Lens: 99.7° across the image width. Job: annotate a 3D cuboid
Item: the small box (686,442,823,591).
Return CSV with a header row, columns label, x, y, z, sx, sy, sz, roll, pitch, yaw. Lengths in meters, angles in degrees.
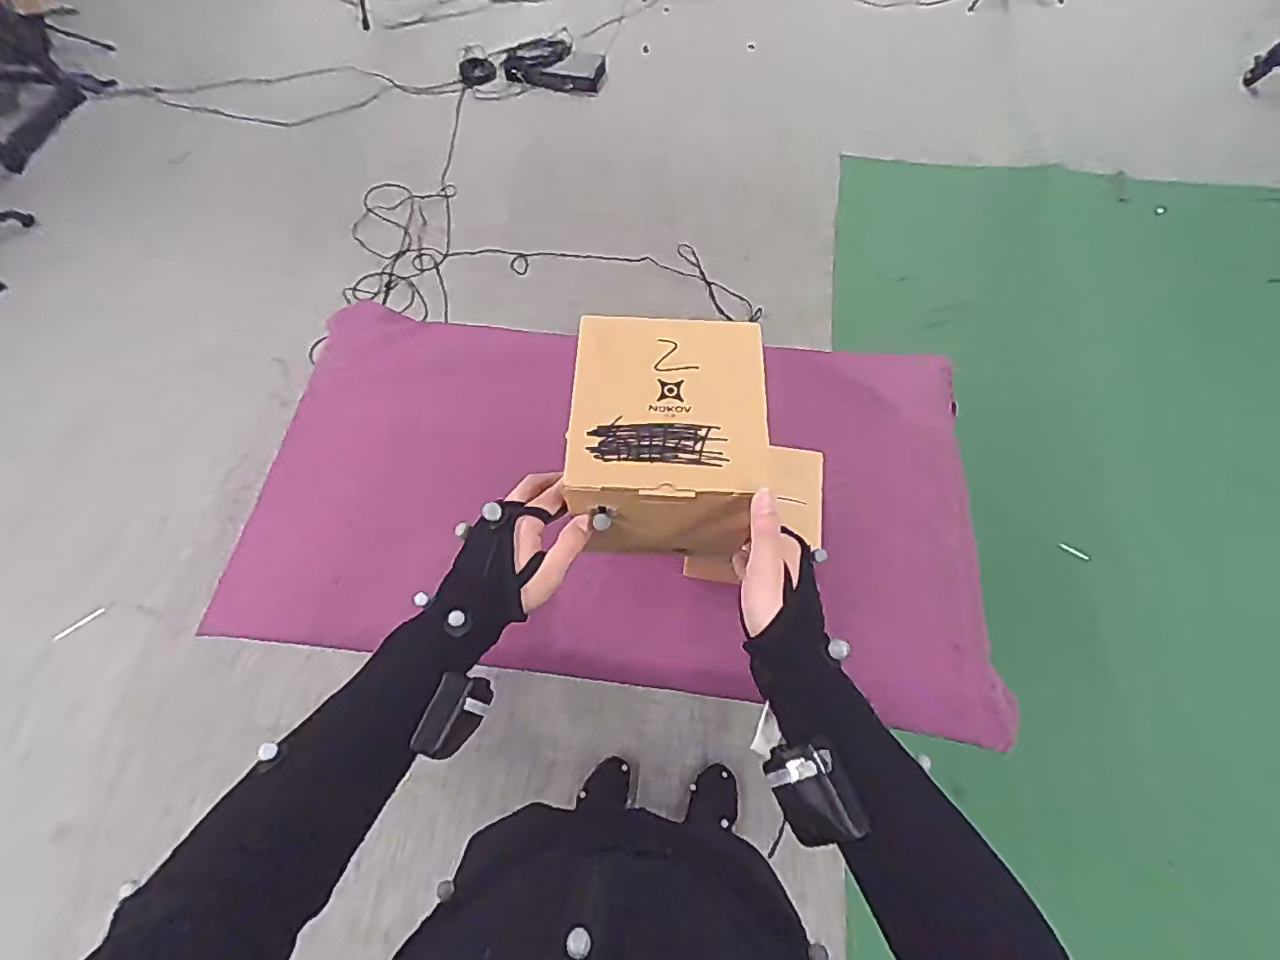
label,x,y,z,sx,sy,sz,roll,pitch,yaw
small box,0.167,0.062,0.822,0.179,0.176,0.168,8,65,5
